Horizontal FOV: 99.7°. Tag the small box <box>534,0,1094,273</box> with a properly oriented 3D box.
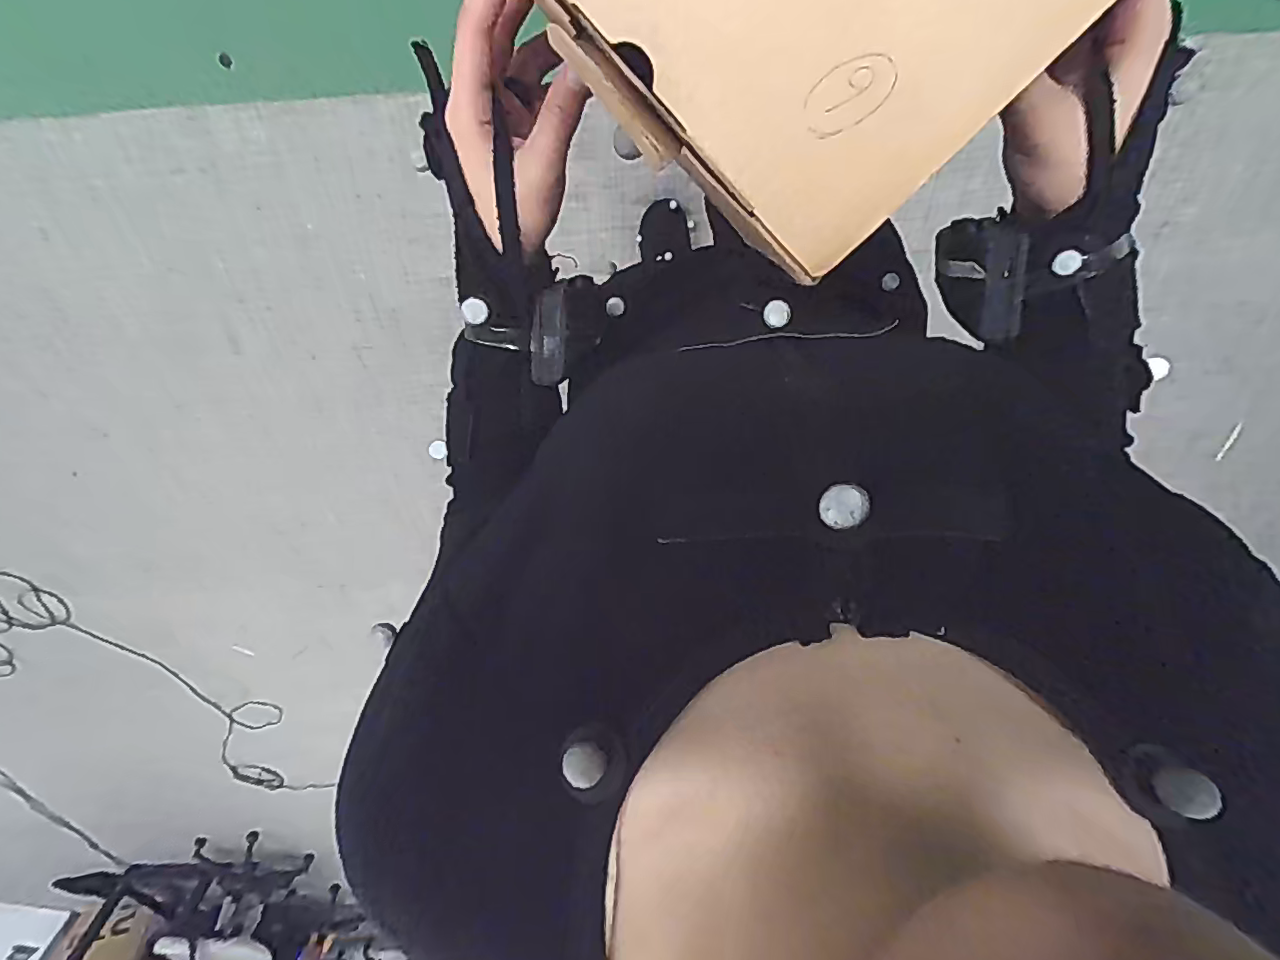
[{"bbox_3d":[0.062,-0.211,0.205,0.168,0.176,0.179,40,114,-16],"label":"small box"}]
